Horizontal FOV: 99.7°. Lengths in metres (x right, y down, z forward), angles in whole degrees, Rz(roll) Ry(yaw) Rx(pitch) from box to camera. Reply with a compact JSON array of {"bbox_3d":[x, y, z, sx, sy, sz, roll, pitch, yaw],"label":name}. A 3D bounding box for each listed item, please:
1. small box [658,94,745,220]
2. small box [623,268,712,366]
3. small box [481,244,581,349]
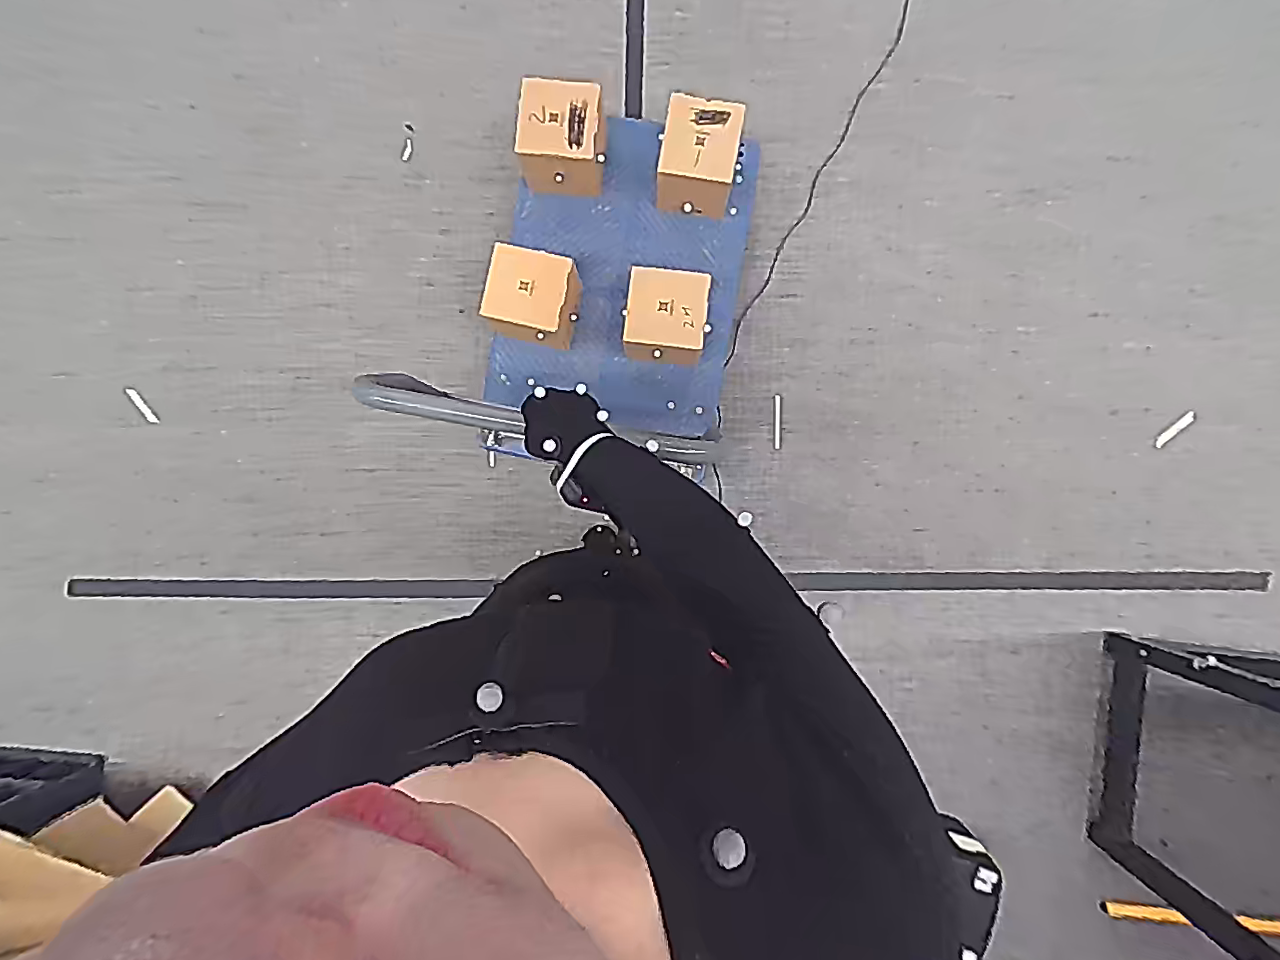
[{"bbox_3d":[0.134,-0.735,1.245,0.168,0.176,0.179,10,91,2],"label":"small box"},{"bbox_3d":[0.061,-0.368,1.244,0.179,0.176,0.168,7,89,2],"label":"small box"},{"bbox_3d":[-0.246,-0.416,1.254,0.179,0.176,0.168,12,89,0],"label":"small box"}]
